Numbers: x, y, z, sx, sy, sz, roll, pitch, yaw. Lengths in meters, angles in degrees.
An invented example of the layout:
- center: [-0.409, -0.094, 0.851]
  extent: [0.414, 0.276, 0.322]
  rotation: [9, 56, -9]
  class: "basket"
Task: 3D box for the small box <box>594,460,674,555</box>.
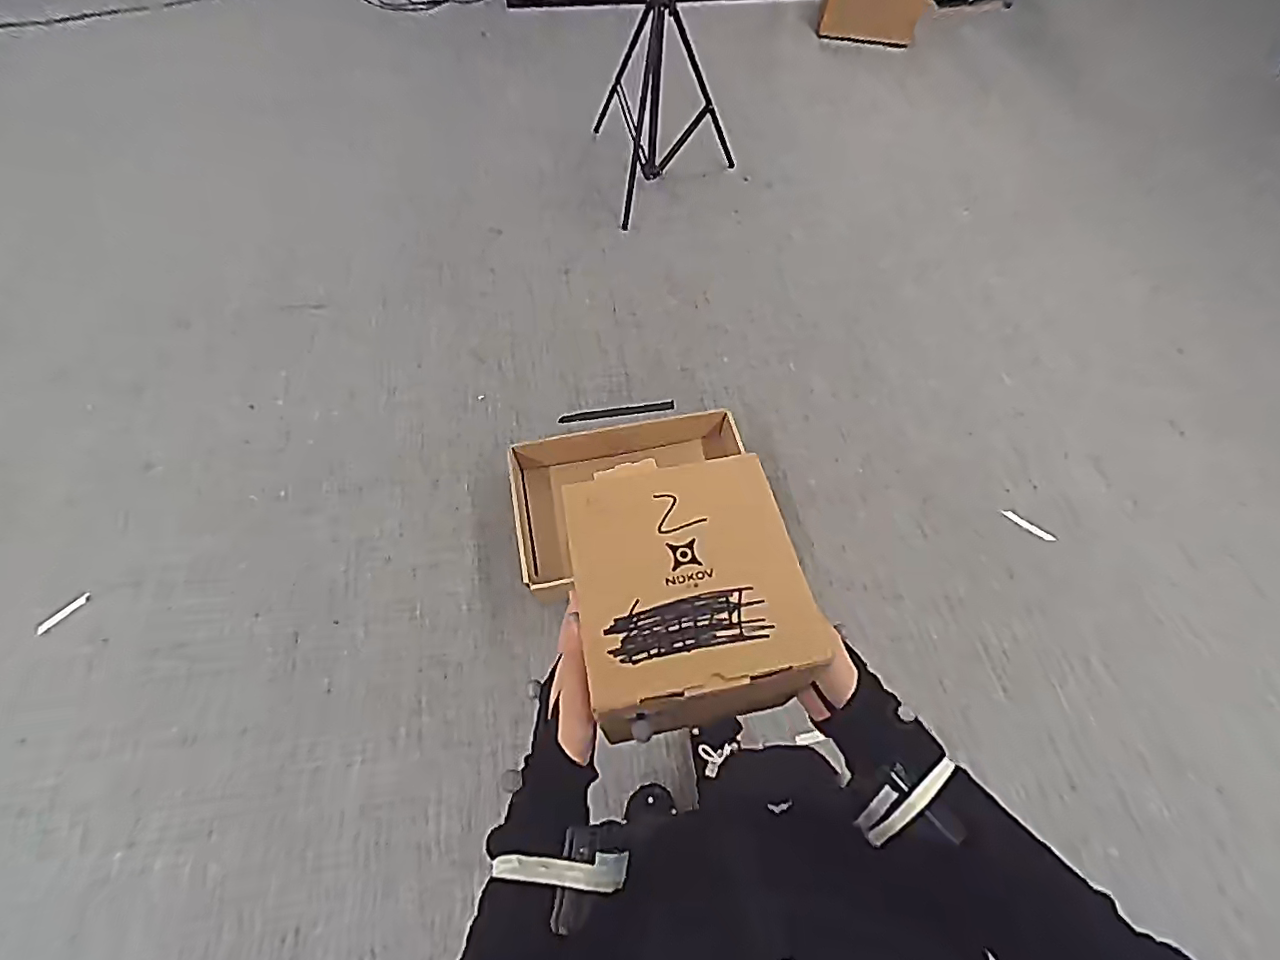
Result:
- center: [-0.021, 0.075, 1.423]
  extent: [0.168, 0.176, 0.179]
  rotation: [-16, 66, -9]
  class: "small box"
